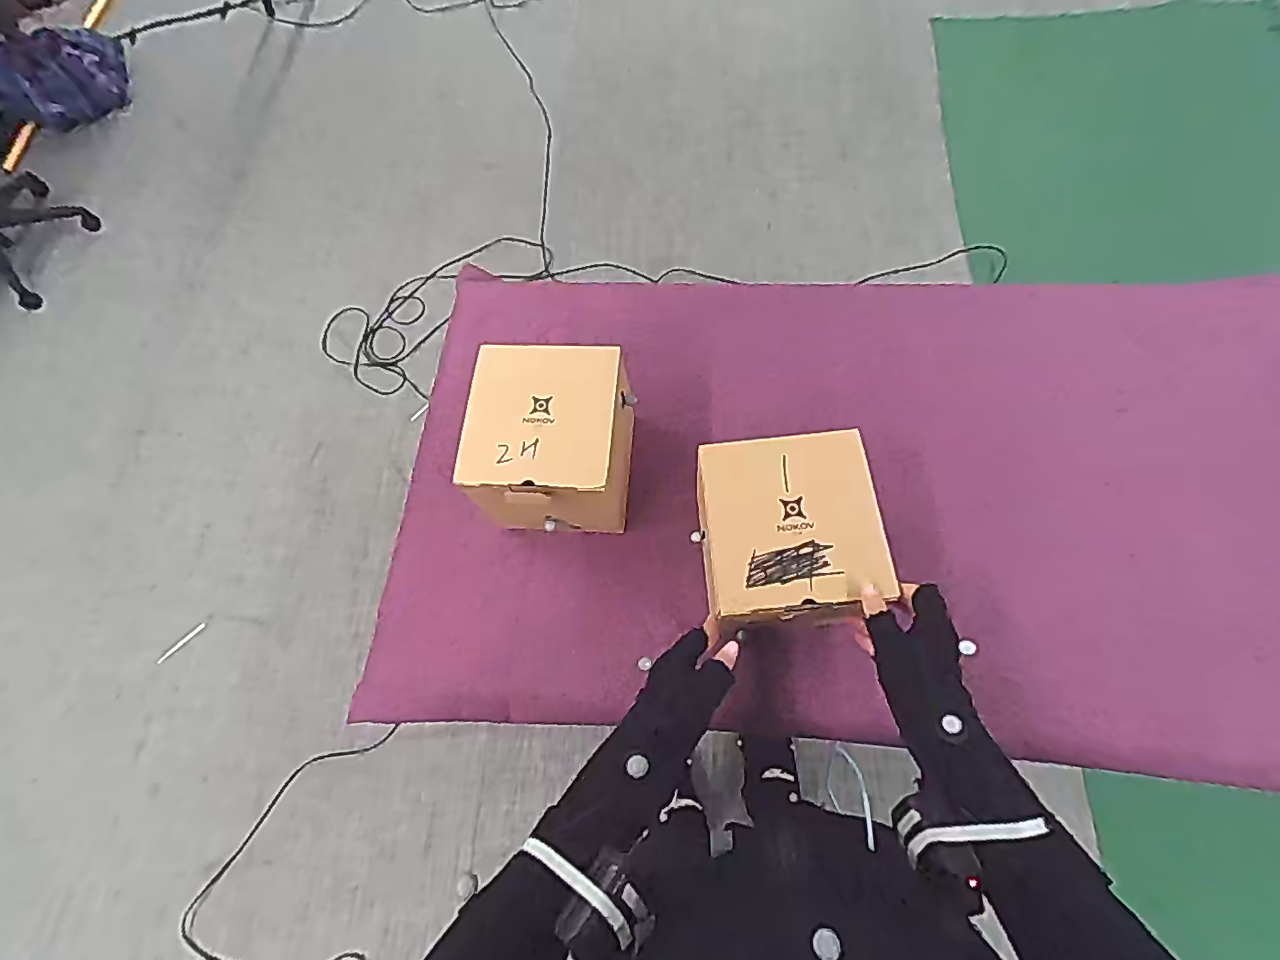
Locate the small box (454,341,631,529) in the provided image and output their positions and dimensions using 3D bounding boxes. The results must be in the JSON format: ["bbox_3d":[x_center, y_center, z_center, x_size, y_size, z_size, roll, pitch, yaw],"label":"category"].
[{"bbox_3d":[-0.104,-0.050,0.667,0.168,0.176,0.179,2,70,7],"label":"small box"}]

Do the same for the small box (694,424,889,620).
[{"bbox_3d":[0.151,0.058,0.602,0.168,0.176,0.179,-6,68,4],"label":"small box"}]
